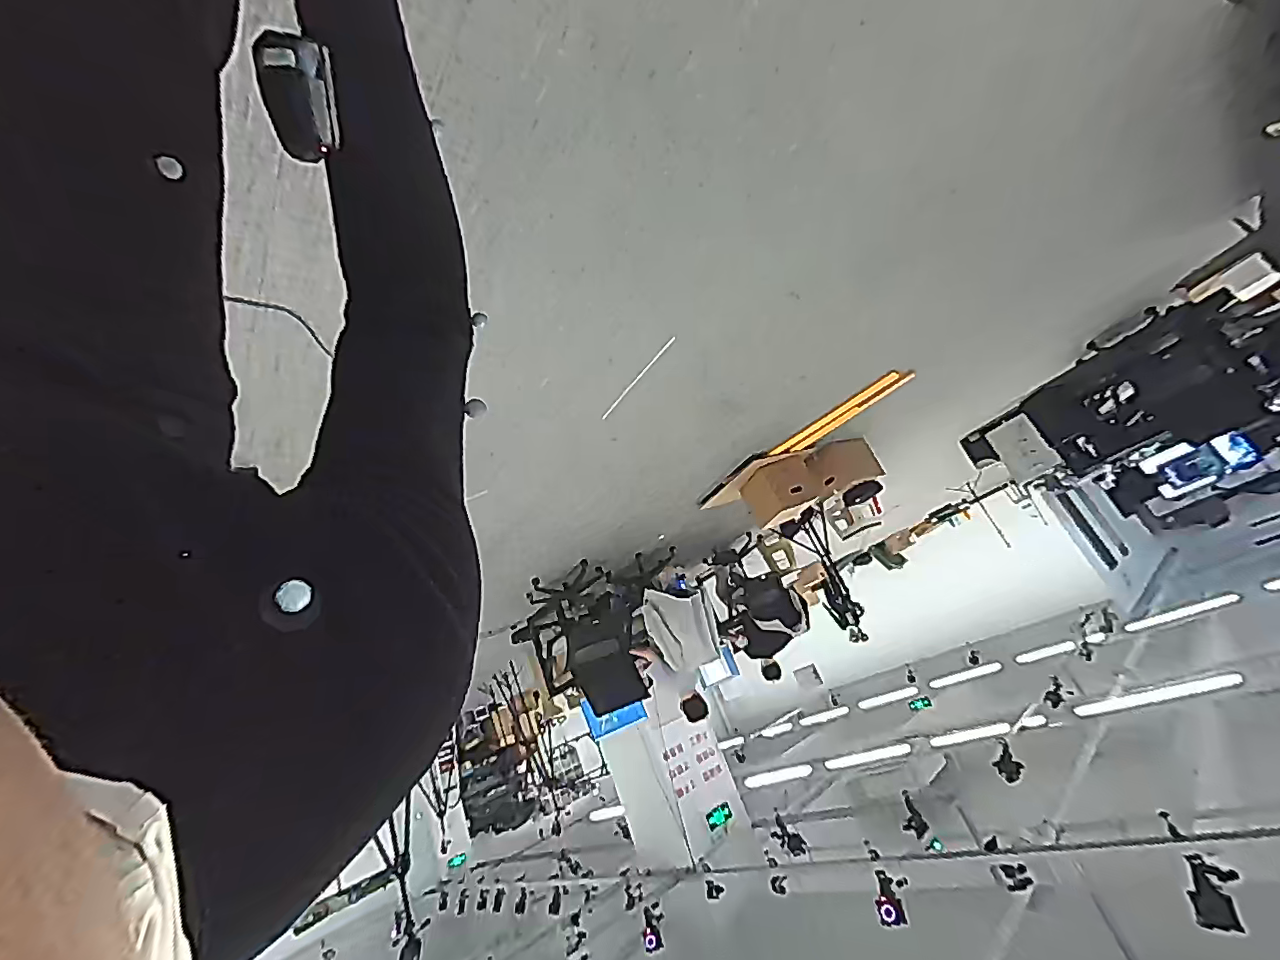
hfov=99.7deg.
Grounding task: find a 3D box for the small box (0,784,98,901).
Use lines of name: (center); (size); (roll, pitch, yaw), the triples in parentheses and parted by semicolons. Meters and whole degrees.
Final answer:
small box: (-1.334, 0.805, 1.207); (0.168, 0.176, 0.179); (-5, 152, -41)
